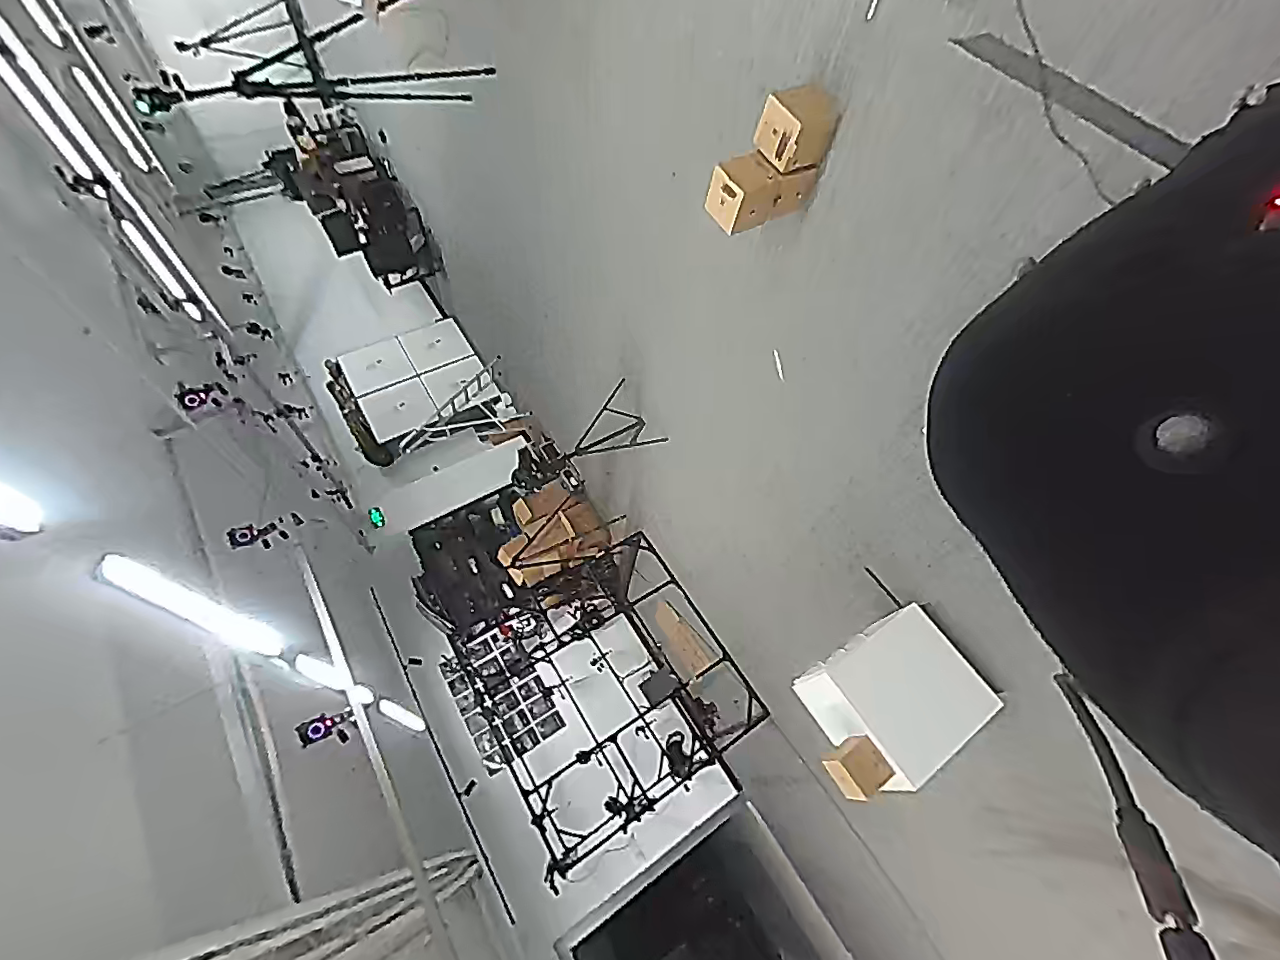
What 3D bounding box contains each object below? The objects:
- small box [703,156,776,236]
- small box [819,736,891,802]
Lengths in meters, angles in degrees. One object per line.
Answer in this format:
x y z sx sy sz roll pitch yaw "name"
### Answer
0.352 -1.006 1.907 0.168 0.176 0.179 57 160 18 "small box"
0.854 1.141 2.143 0.168 0.176 0.179 54 159 20 "small box"
